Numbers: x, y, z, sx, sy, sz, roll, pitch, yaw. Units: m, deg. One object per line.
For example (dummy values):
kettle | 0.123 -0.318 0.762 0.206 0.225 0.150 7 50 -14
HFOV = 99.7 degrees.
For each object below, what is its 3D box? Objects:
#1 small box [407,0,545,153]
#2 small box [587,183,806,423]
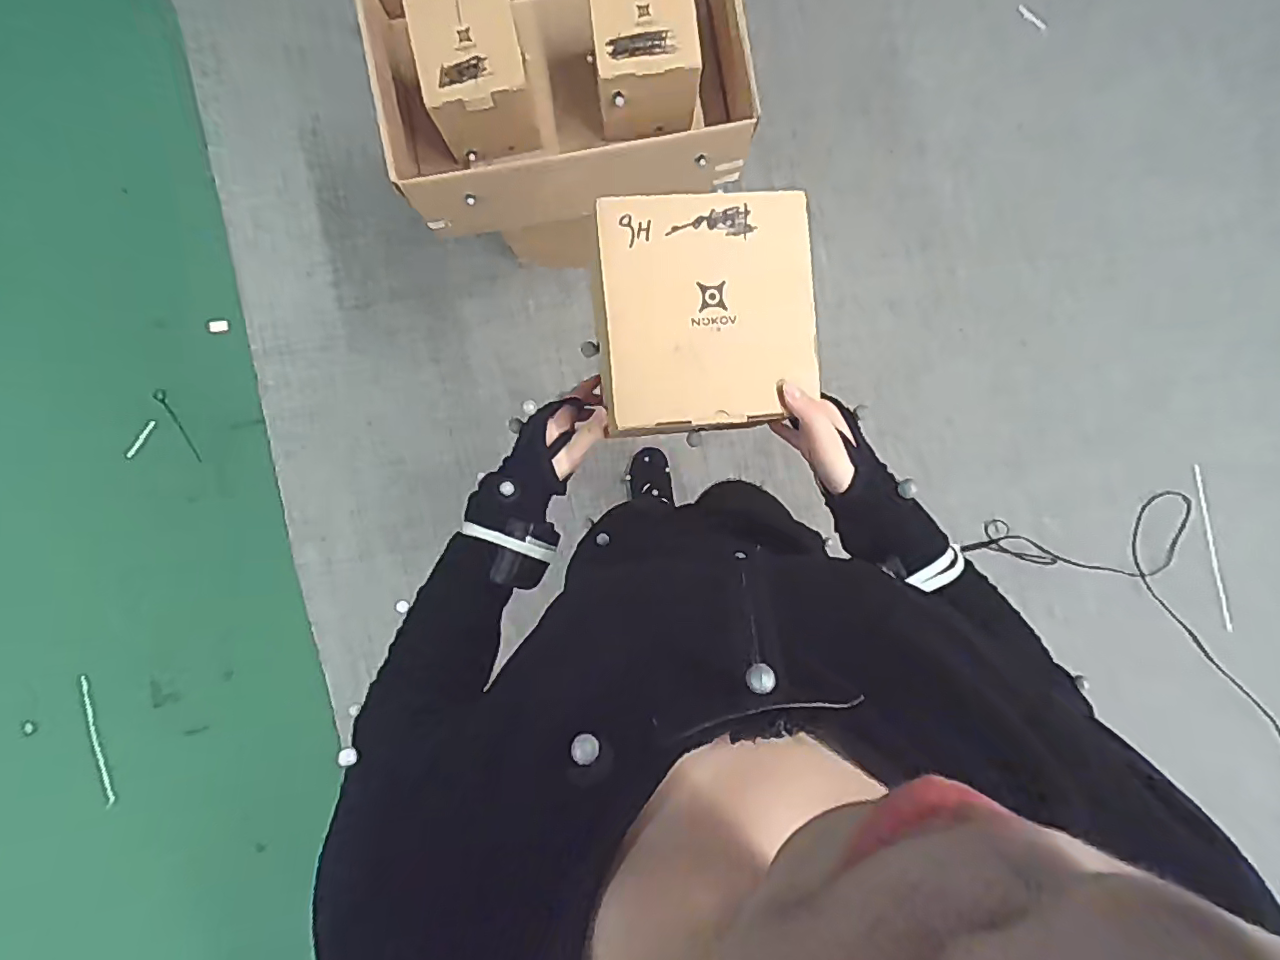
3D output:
small box | -0.269 -0.693 0.926 0.168 0.176 0.179 -12 91 0
small box | 0.040 -0.143 0.497 0.168 0.176 0.179 -4 93 -6
